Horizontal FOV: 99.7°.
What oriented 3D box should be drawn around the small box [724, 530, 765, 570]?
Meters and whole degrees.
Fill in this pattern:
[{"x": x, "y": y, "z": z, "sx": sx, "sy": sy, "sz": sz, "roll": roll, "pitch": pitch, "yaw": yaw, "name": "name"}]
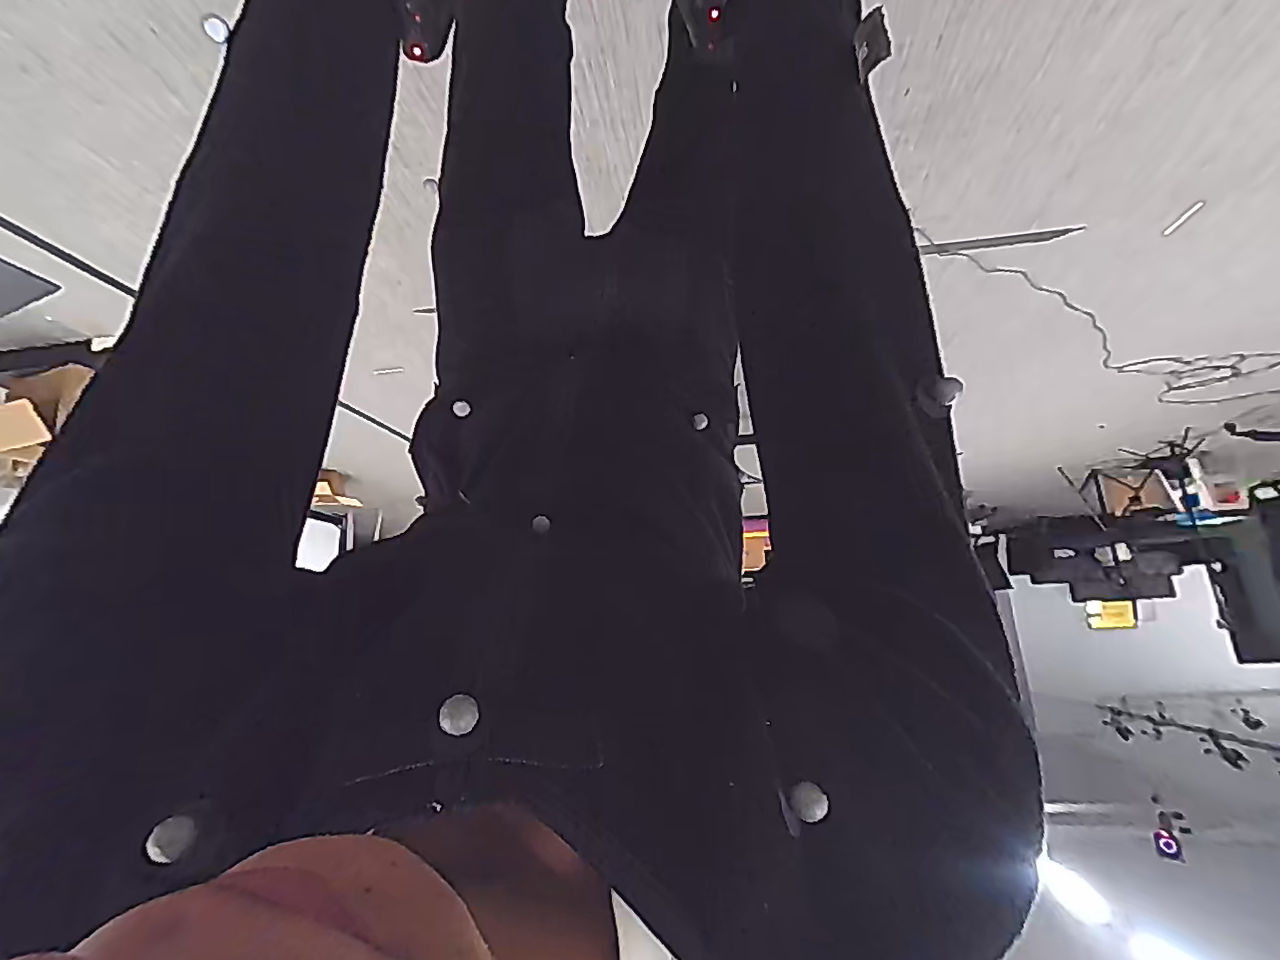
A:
[{"x": 0.503, "y": 0.342, "z": 2.623, "sx": 0.179, "sy": 0.176, "sz": 0.168, "roll": -4, "pitch": 167, "yaw": 5, "name": "small box"}]
